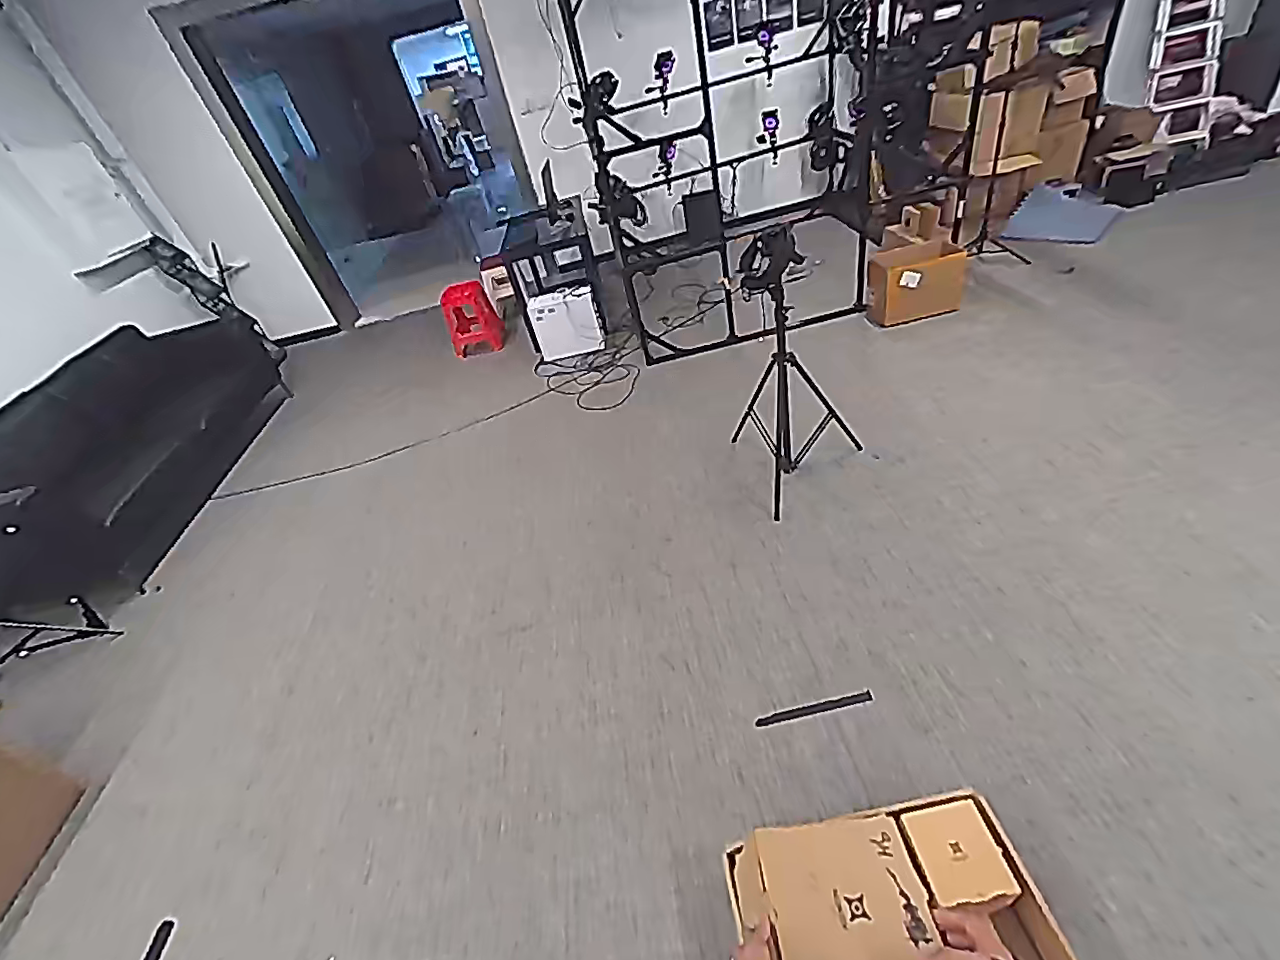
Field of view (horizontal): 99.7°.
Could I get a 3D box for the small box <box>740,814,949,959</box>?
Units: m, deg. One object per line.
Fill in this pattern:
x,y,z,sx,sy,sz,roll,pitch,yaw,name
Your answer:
0.219,0.513,0.625,0.179,0.176,0.168,-3,41,-4,small box
